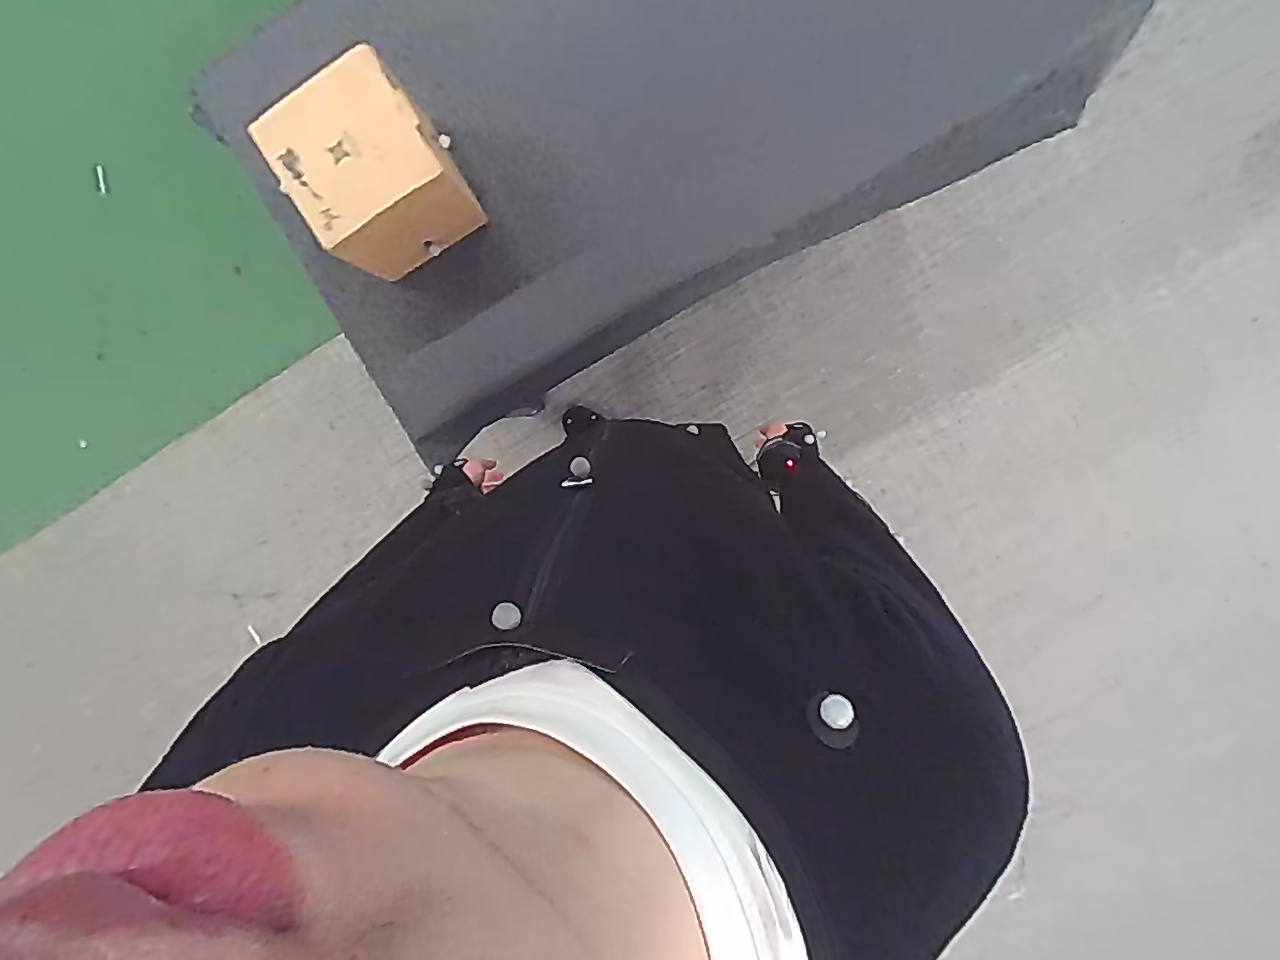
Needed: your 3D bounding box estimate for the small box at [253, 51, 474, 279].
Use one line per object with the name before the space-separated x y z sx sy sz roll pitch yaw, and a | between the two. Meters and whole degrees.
small box | -0.342 -0.397 0.717 0.179 0.176 0.168 -30 96 4
